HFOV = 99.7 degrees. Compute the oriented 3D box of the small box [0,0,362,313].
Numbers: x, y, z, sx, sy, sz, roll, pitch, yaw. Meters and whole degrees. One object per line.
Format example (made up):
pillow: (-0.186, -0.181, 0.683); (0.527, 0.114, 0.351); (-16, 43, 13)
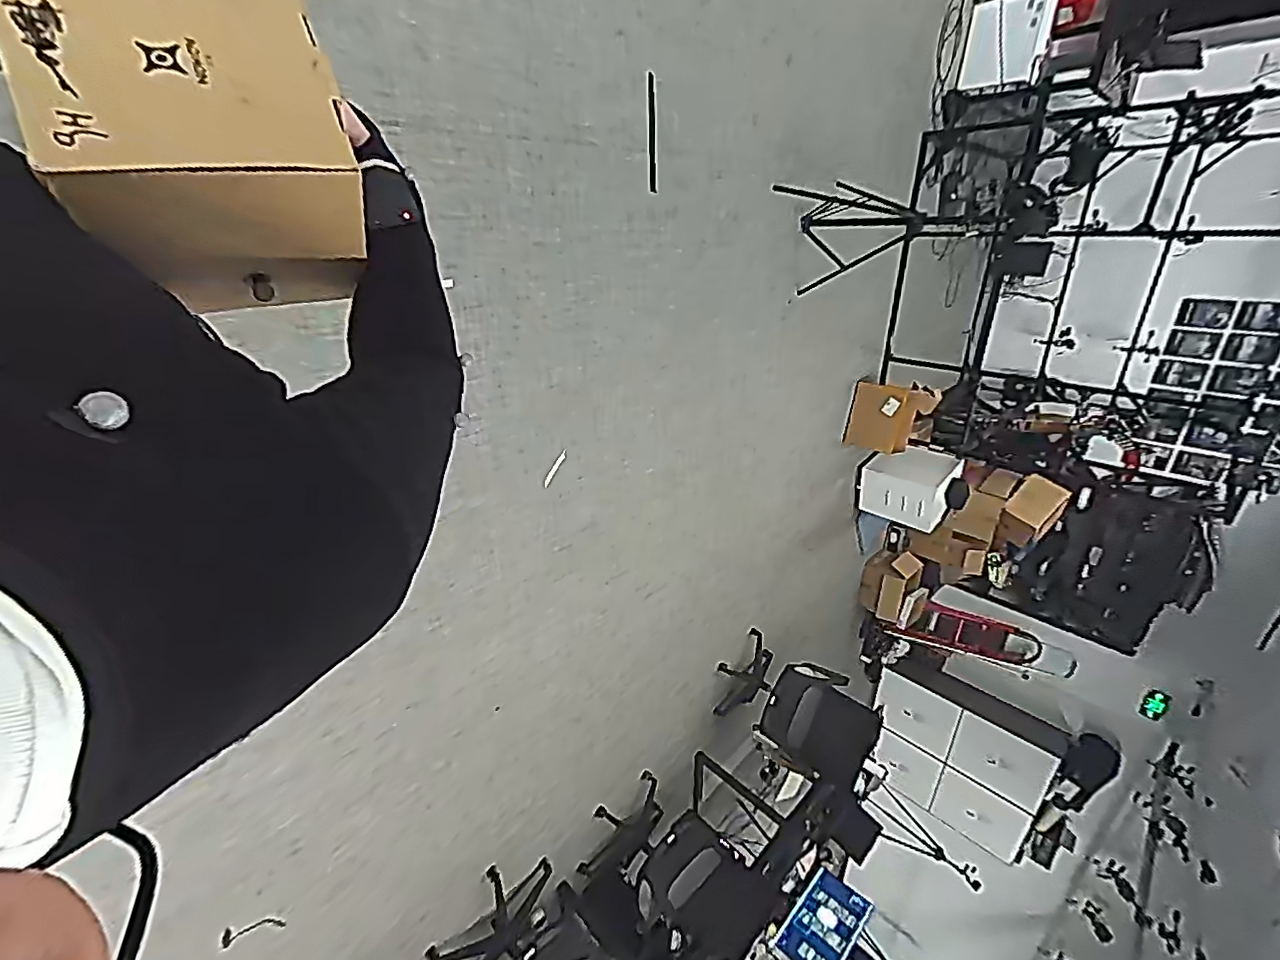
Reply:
small box: (-0.344, -0.259, 0.442); (0.179, 0.176, 0.168); (-18, 83, -28)
